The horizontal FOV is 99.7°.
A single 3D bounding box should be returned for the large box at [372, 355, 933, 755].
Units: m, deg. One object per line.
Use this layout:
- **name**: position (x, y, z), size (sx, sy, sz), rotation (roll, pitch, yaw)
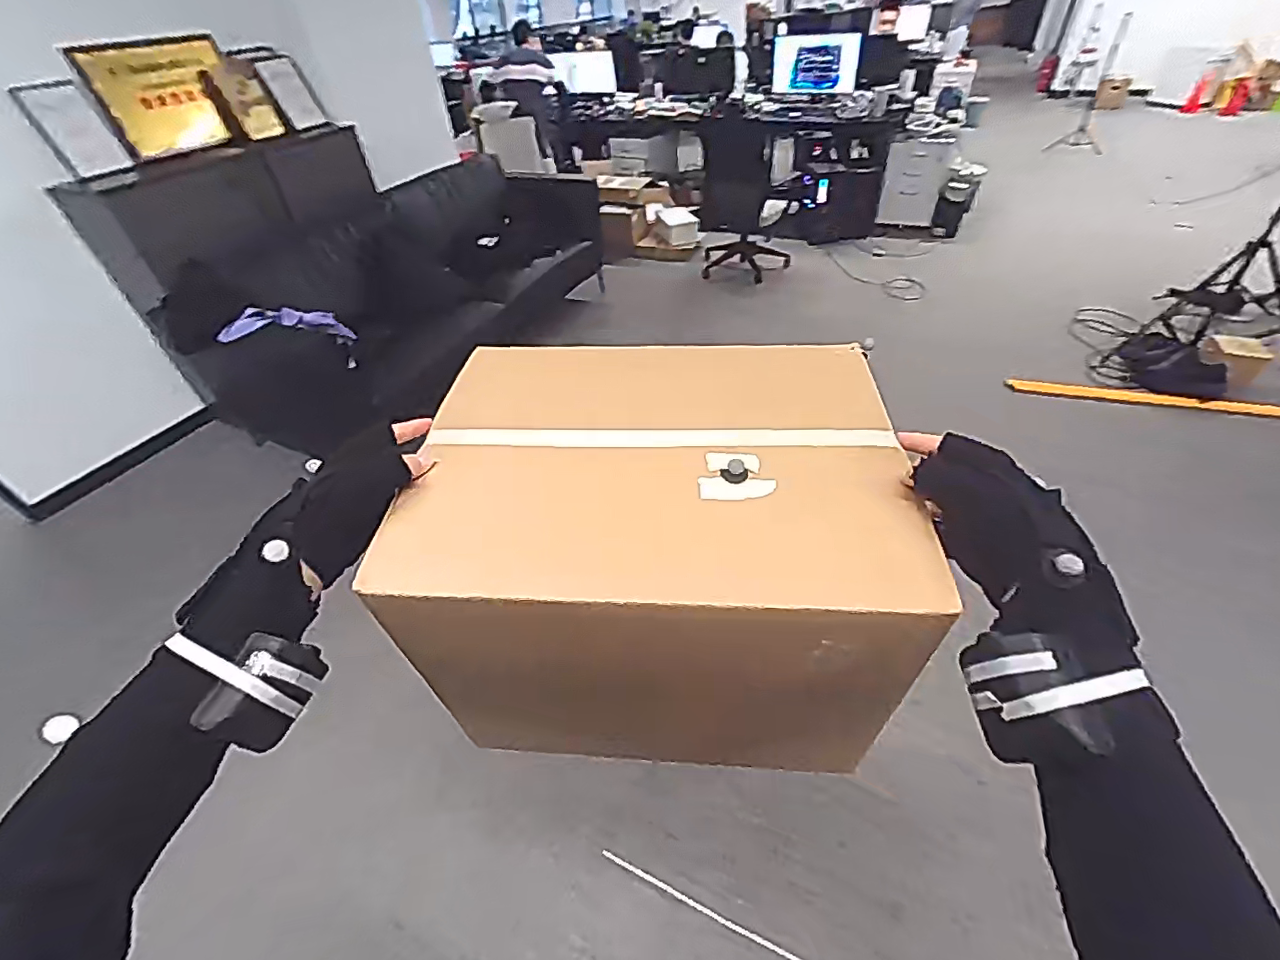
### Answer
- **large box**: position (0.015, 0.078, 0.585), size (0.408, 0.320, 0.320), rotation (1, 45, 4)
